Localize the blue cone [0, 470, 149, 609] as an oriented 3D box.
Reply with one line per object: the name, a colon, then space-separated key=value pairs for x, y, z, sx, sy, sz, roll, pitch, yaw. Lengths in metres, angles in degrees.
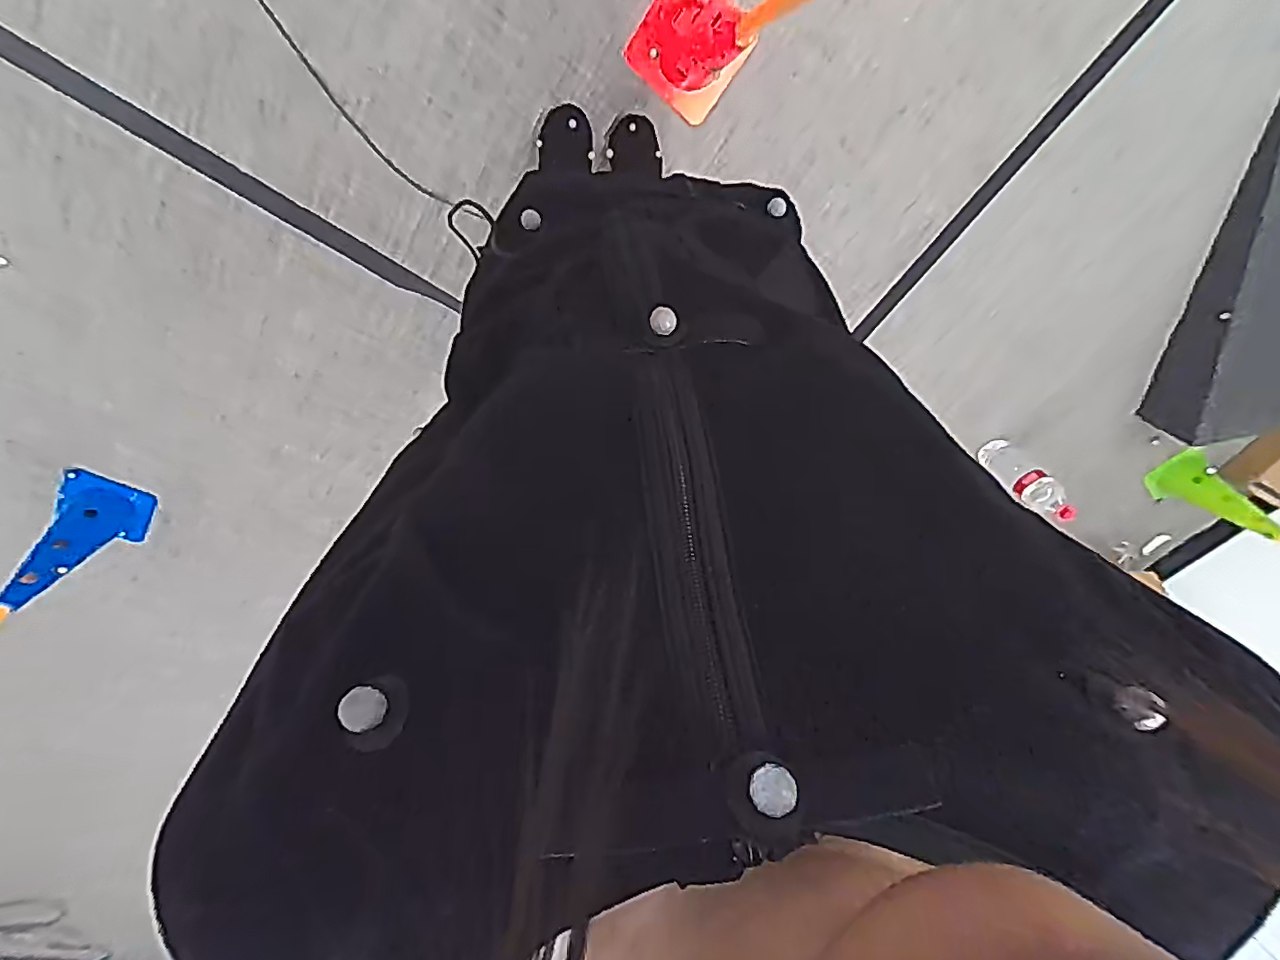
blue cone: x=-1.428 y=0.167 z=1.326 sx=0.192 sy=0.380 sz=0.193 roll=31 pitch=116 yaw=-27

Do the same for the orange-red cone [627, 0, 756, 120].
orange-red cone: x=0.123 y=-0.737 z=0.895 sx=0.199 sy=0.360 sz=0.198 roll=30 pitch=117 yaw=-28
